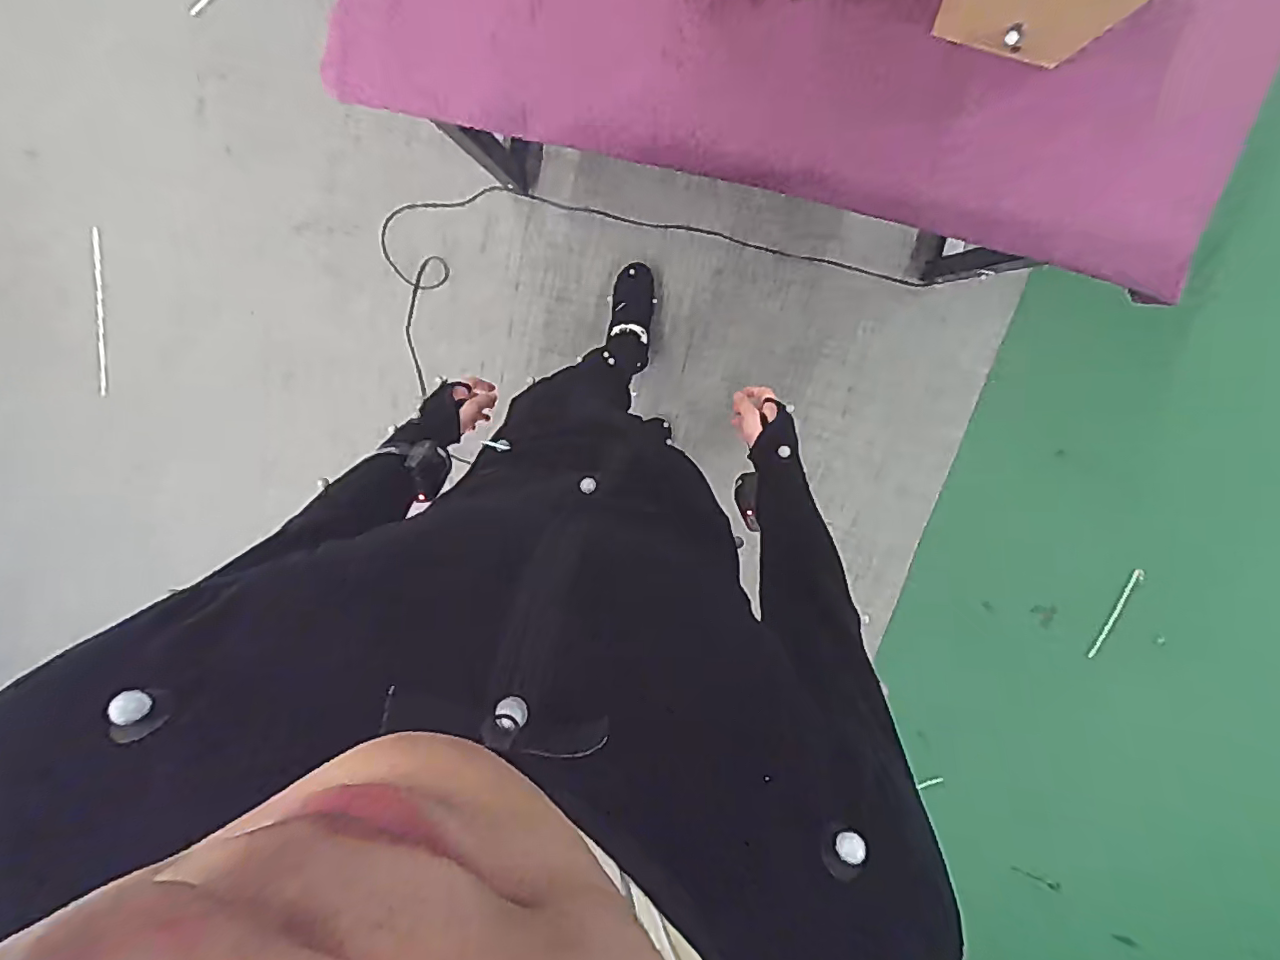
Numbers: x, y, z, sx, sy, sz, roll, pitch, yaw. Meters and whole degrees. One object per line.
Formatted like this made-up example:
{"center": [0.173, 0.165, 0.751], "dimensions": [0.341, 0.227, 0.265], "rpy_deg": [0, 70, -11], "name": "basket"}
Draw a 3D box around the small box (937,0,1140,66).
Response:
{"center": [0.468, -0.615, 0.600], "dimensions": [0.168, 0.176, 0.179], "rpy_deg": [15, 105, -1], "name": "small box"}
